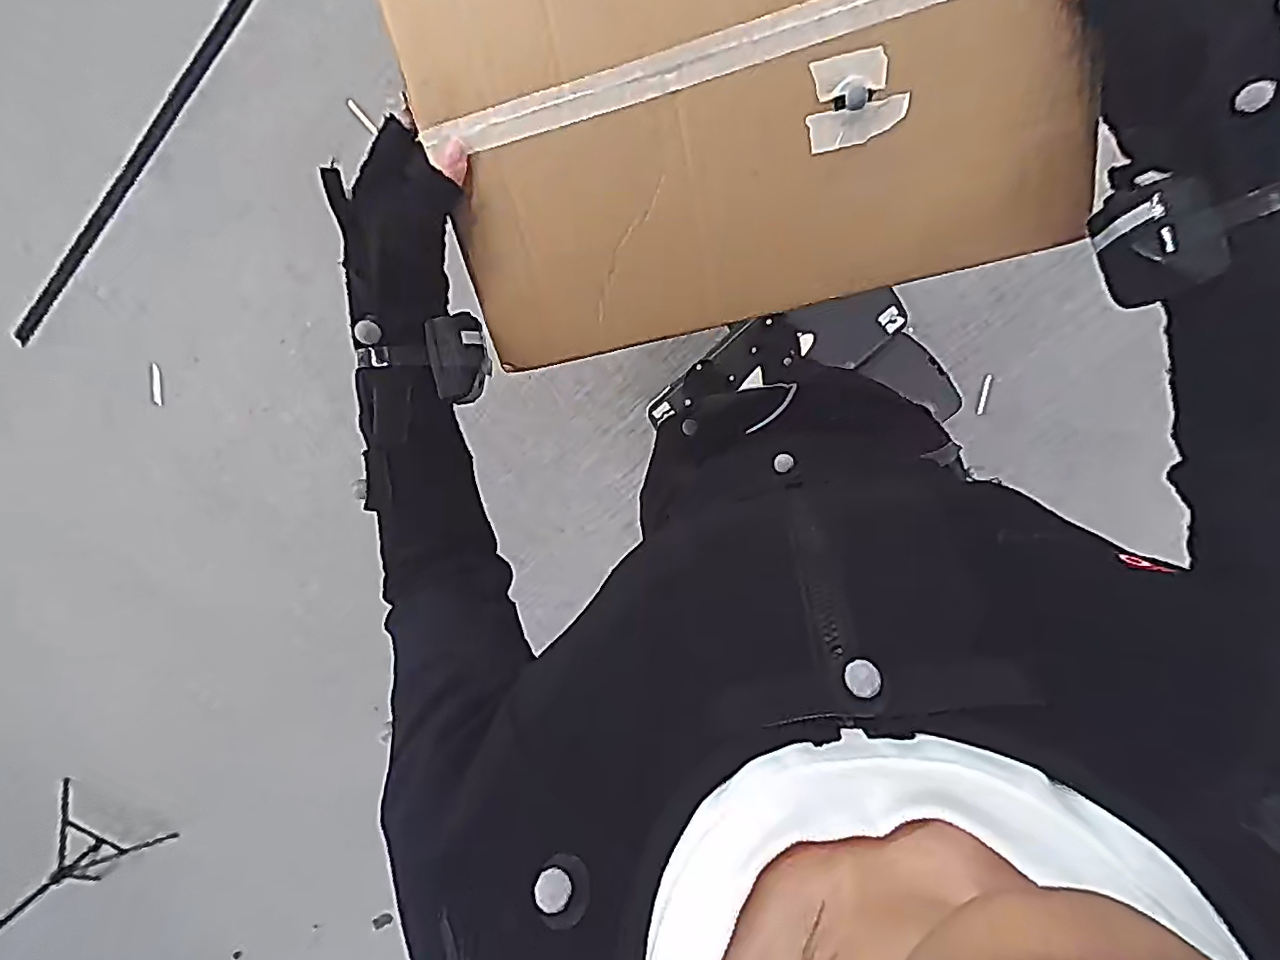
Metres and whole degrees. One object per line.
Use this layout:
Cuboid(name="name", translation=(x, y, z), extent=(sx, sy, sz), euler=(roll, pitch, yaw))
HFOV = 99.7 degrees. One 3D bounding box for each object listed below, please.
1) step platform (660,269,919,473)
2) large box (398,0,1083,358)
Cuboid(name="step platform", translation=(0.377, -0.331, 1.450), extent=(0.684, 0.204, 0.286), euler=(-42, 96, 13))
Cuboid(name="large box", translation=(0.069, -0.327, 0.473), extent=(0.408, 0.320, 0.320), euler=(-11, 112, 10))
